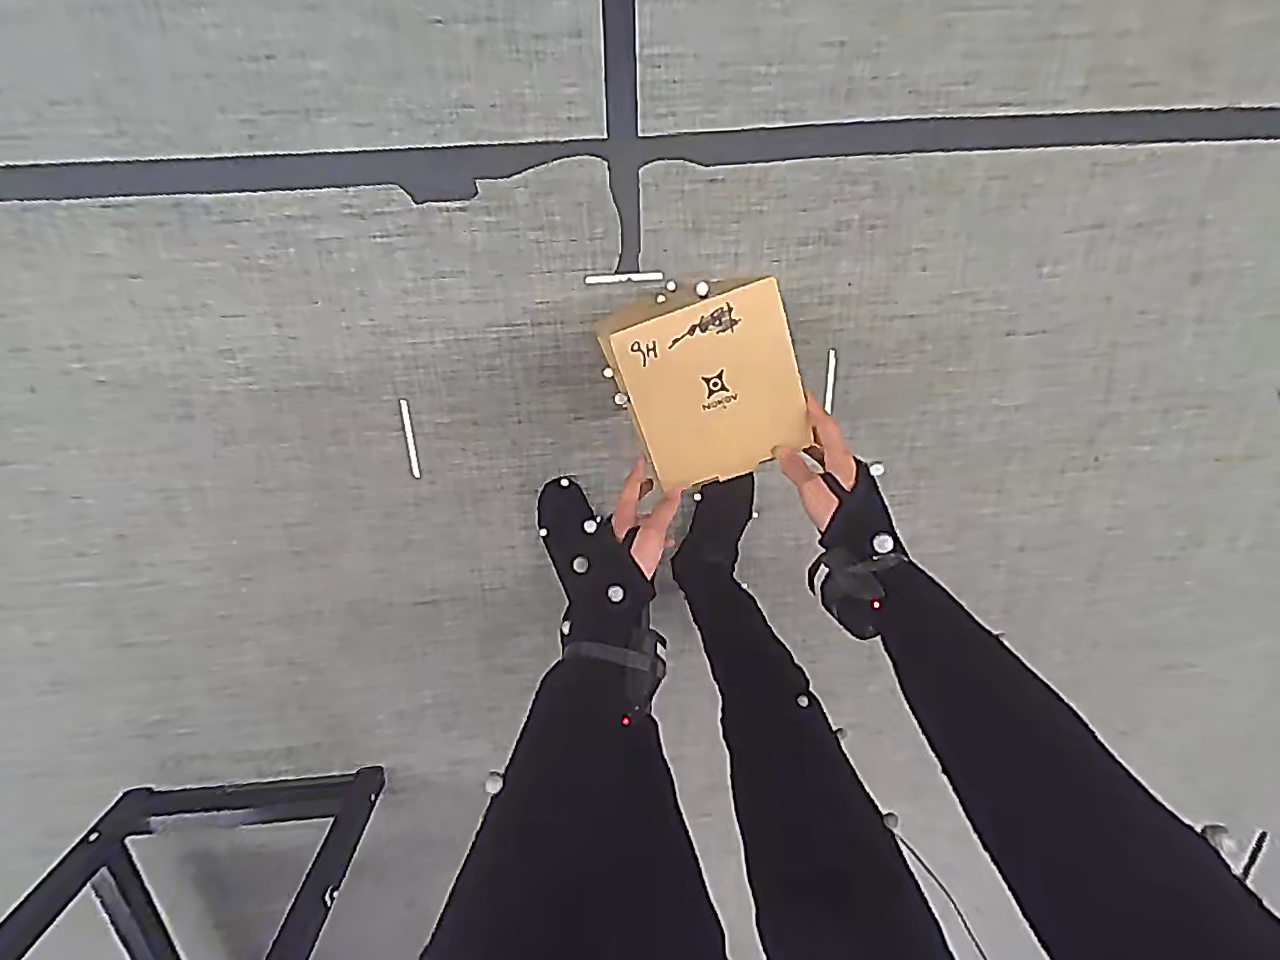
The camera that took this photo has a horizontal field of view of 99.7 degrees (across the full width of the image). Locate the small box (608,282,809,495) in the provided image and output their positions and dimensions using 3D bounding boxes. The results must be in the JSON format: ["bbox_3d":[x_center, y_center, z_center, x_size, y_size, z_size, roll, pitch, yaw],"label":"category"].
[{"bbox_3d":[0.069,-0.112,0.610,0.168,0.176,0.179,-19,111,2],"label":"small box"}]
